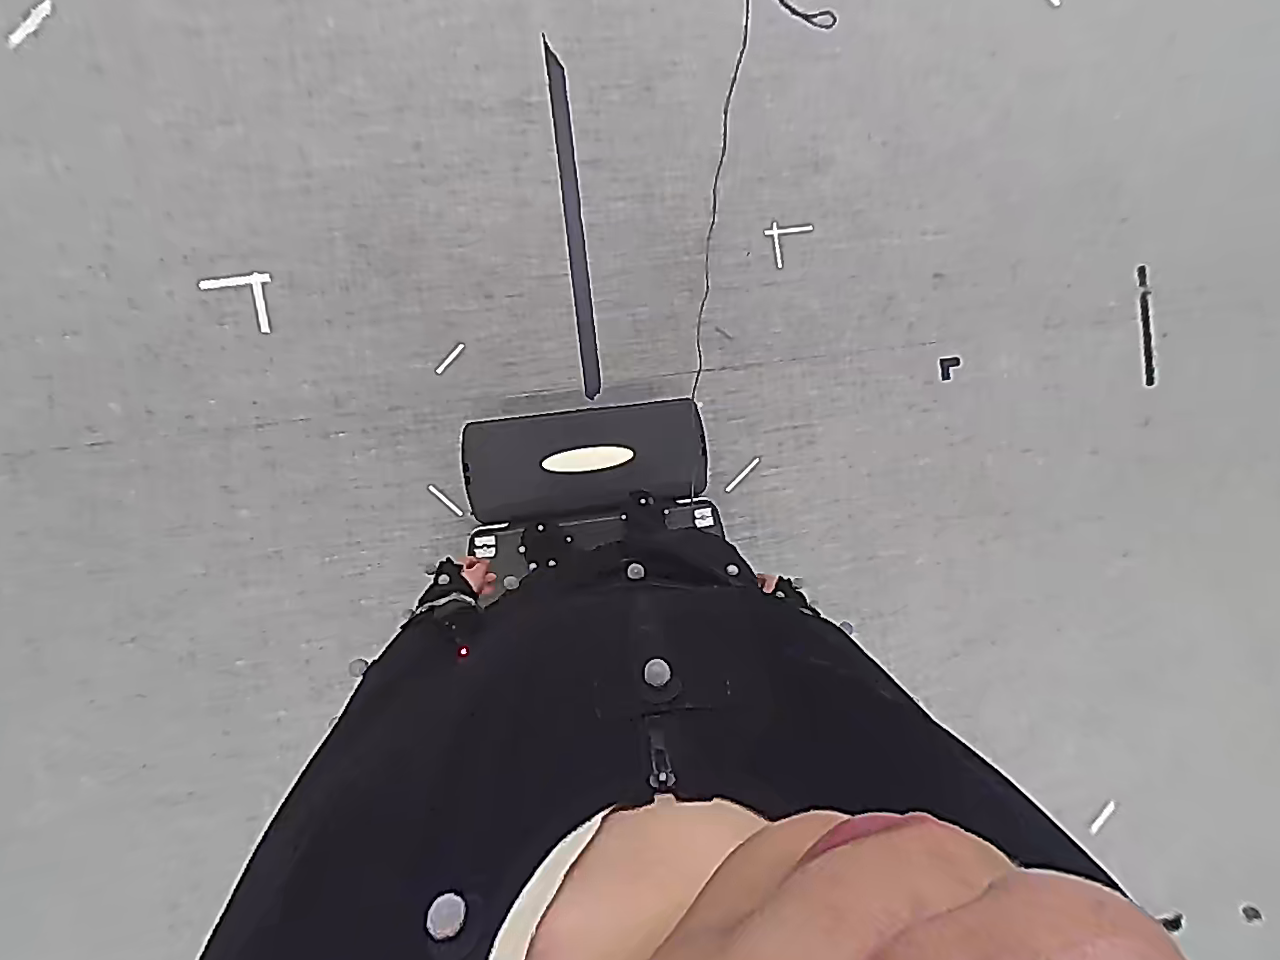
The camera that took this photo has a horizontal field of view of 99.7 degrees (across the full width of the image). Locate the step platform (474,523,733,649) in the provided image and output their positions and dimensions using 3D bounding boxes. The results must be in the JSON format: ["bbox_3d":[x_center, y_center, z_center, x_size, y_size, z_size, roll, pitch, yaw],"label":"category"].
[{"bbox_3d":[-0.094,0.278,1.465,0.684,0.204,0.286,-3,89,-6],"label":"step platform"}]
